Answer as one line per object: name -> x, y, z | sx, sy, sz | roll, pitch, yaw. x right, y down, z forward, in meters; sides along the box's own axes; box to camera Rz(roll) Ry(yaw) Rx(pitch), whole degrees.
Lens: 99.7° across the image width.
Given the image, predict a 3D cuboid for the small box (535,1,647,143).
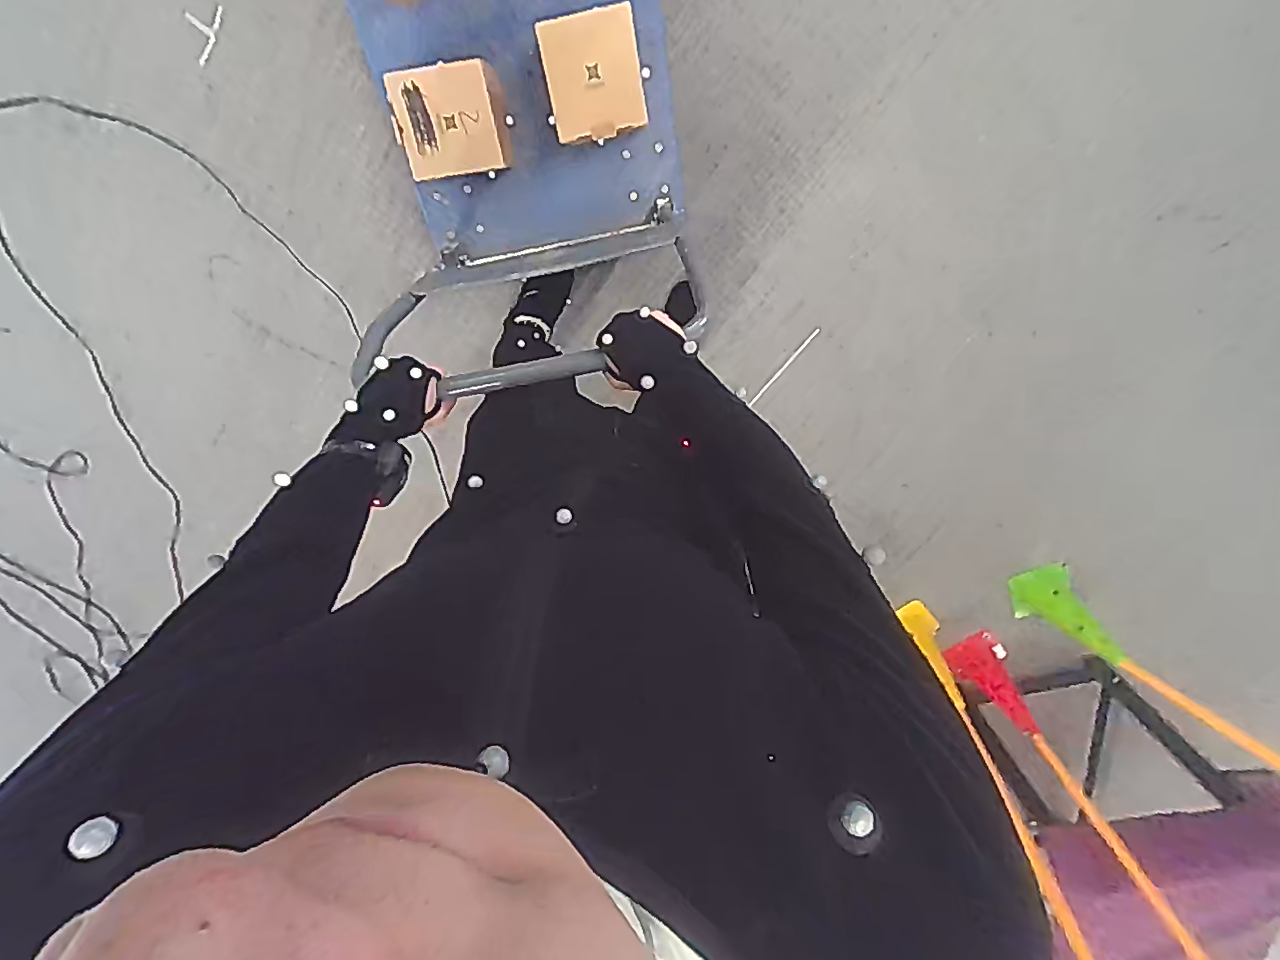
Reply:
small box -> -0.086, -0.746, 1.007 | 0.168, 0.176, 0.179 | -11, 122, 4
